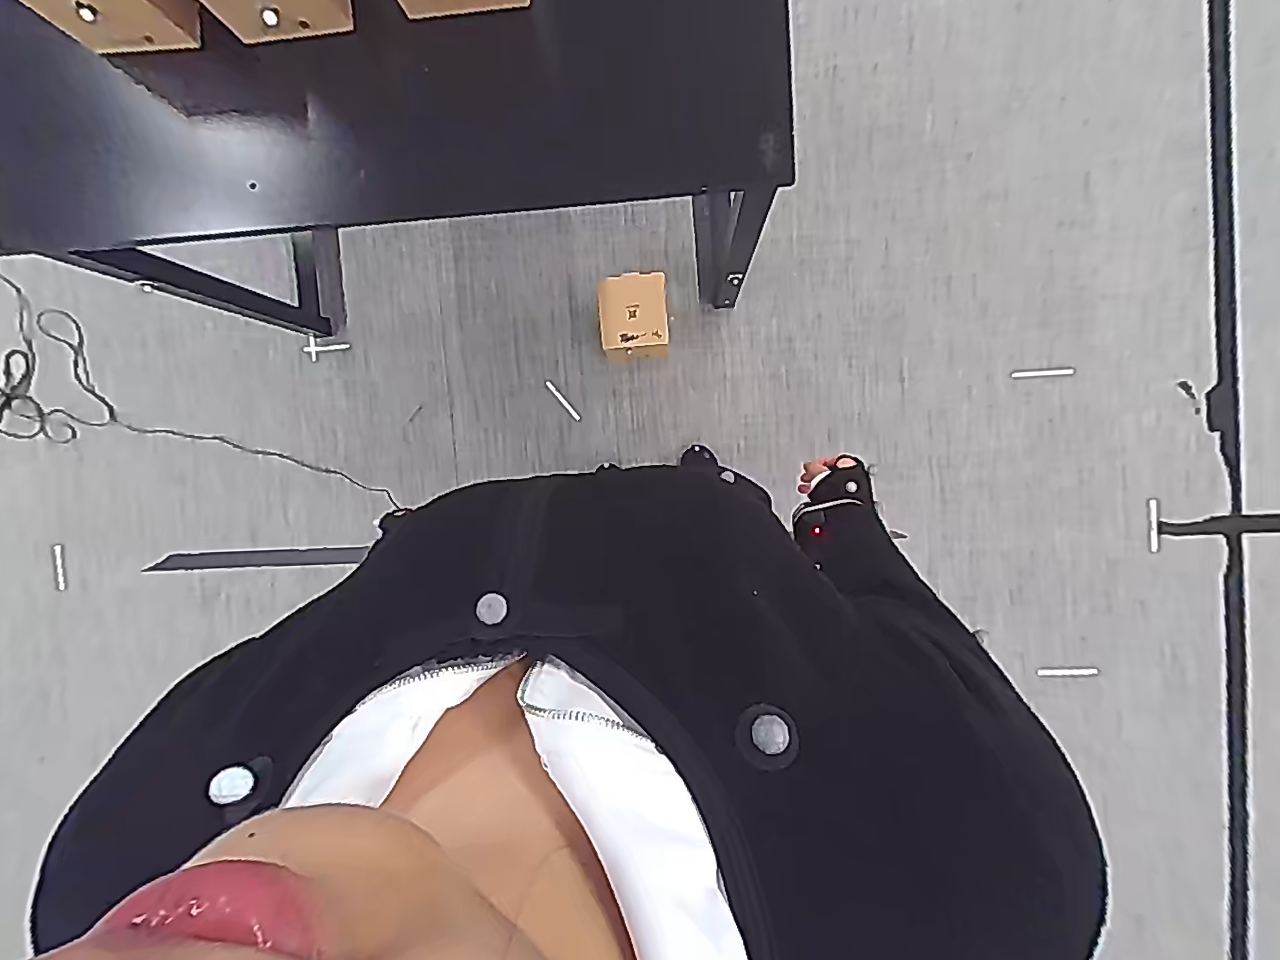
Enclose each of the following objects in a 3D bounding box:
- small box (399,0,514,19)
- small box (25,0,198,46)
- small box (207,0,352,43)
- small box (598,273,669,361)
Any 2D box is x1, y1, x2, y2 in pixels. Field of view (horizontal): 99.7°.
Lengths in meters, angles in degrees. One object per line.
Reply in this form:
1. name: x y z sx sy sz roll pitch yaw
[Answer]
1. small box: -0.248 -0.724 0.668 0.179 0.176 0.168 -3 92 5
2. small box: -0.719 -0.704 0.701 0.168 0.176 0.179 0 93 3
3. small box: -0.496 -0.709 0.684 0.168 0.176 0.179 -4 94 4
4. small box: -0.013 -0.415 1.397 0.168 0.176 0.179 -4 92 5
